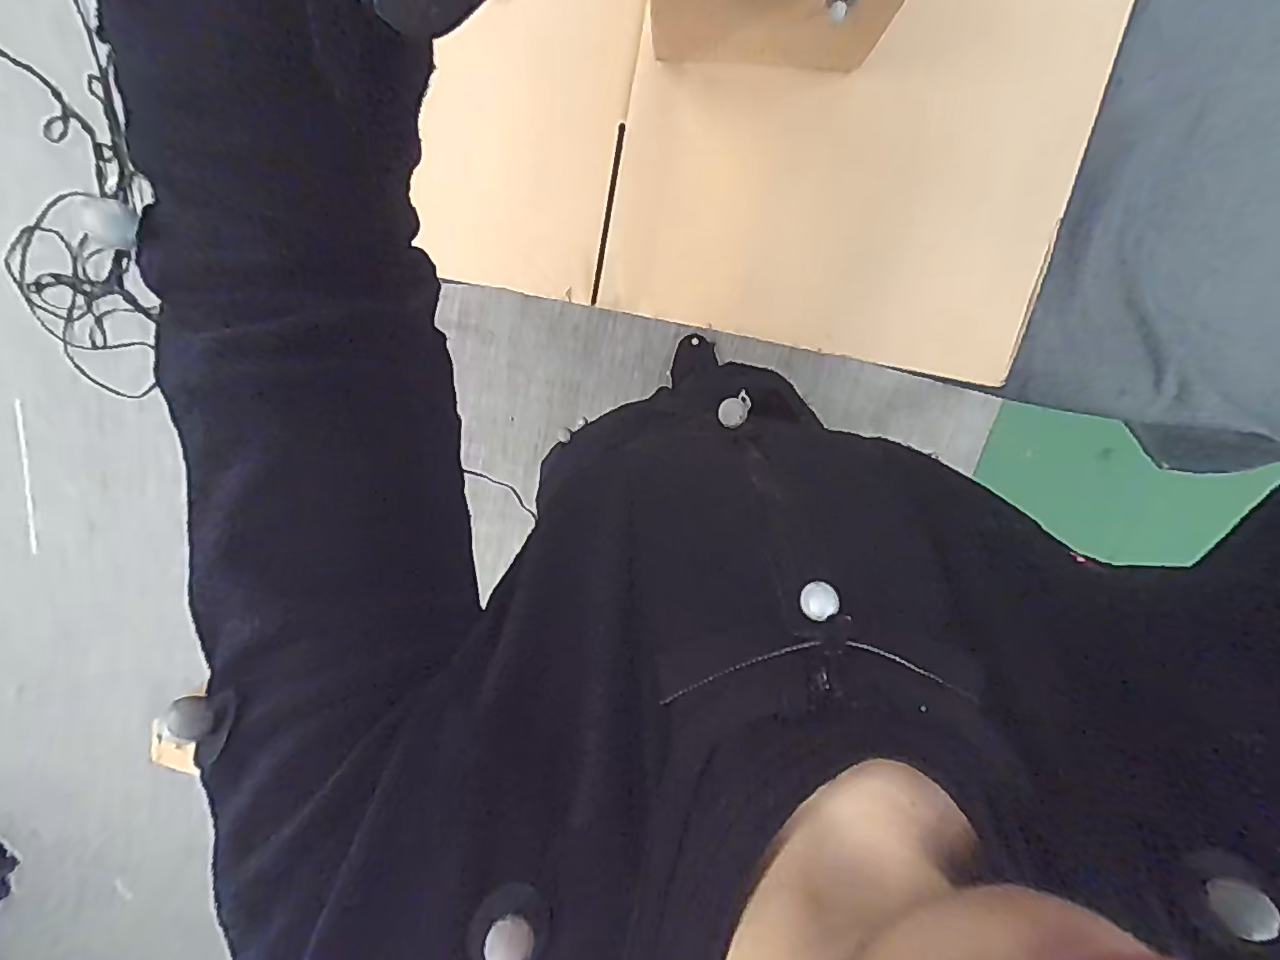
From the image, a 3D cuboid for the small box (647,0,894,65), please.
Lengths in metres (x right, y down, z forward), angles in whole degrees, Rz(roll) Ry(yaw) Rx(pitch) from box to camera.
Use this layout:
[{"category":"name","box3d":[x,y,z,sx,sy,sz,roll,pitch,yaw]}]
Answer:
[{"category":"small box","box3d":[0.096,-0.408,0.353,0.179,0.176,0.168,4,102,3]}]

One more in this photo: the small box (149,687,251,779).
[{"category":"small box","box3d":[-1.317,0.754,1.628,0.179,0.176,0.168,16,106,-1]}]
